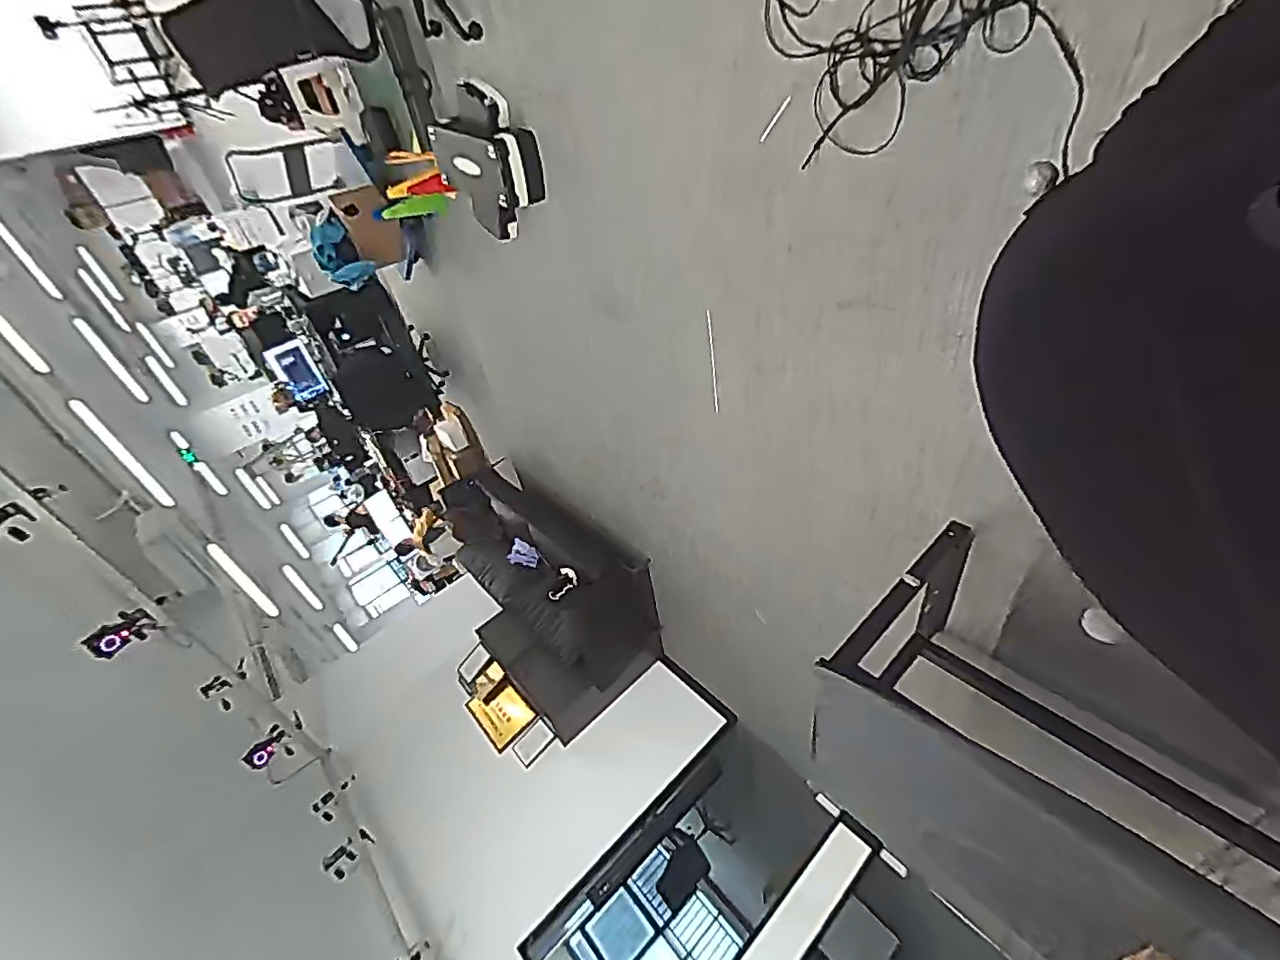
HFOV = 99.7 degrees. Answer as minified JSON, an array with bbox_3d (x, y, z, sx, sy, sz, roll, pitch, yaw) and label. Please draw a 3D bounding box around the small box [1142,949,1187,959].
[{"bbox_3d":[1.034,1.045,1.017,0.168,0.176,0.179,30,144,40],"label":"small box"}]
